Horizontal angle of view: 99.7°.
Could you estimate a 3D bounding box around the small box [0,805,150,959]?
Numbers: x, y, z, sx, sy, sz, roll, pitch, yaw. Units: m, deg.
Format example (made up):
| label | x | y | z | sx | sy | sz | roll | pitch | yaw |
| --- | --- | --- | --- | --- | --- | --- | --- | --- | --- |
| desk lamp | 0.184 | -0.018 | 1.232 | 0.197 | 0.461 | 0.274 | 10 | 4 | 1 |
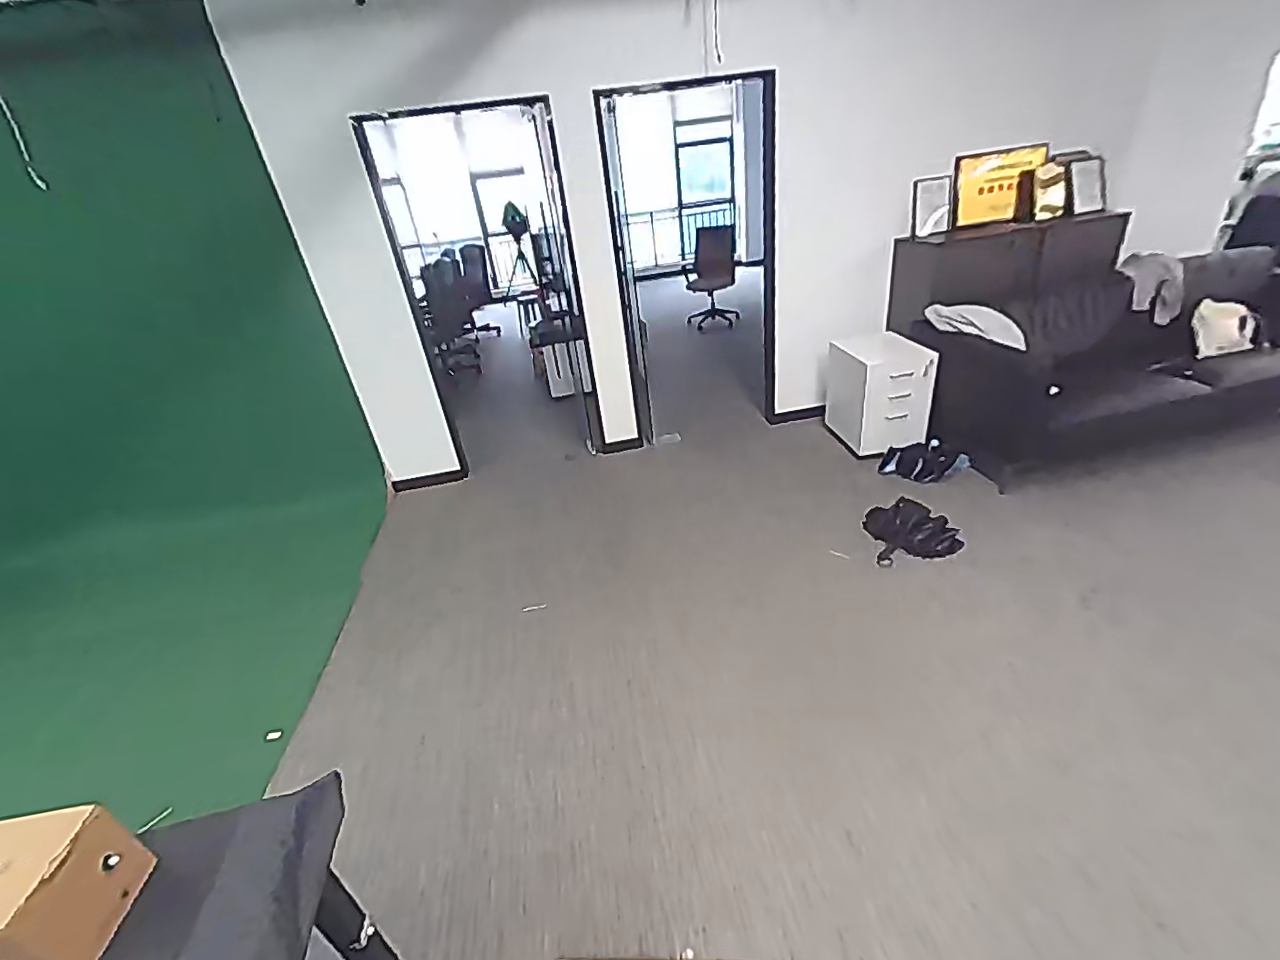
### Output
| label | x | y | z | sx | sy | sz | roll | pitch | yaw |
| --- | --- | --- | --- | --- | --- | --- | --- | --- | --- |
| small box | -0.874 | 0.609 | 0.773 | 0.179 | 0.176 | 0.168 | -10 | 27 | -3 |
